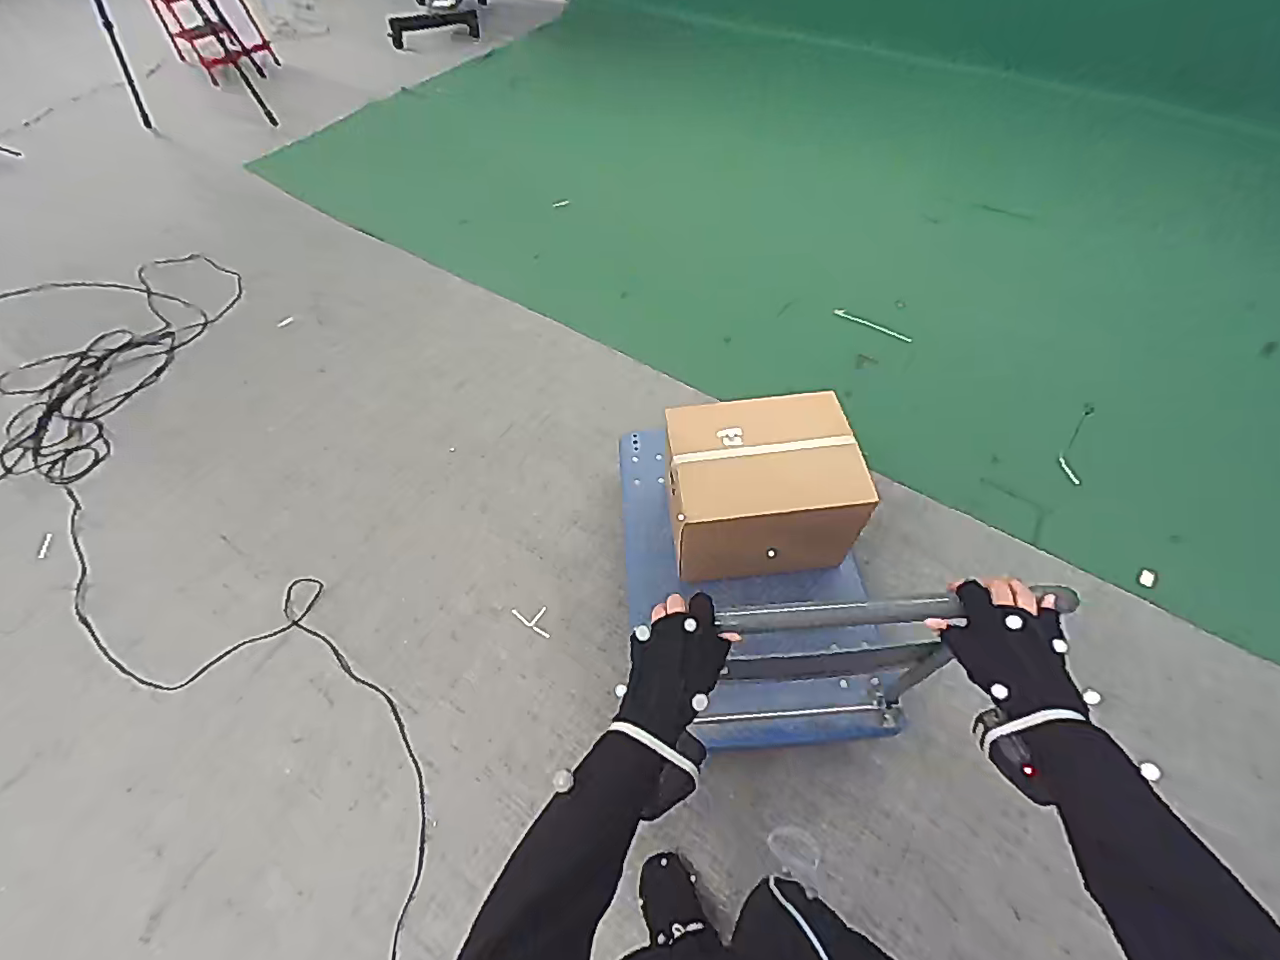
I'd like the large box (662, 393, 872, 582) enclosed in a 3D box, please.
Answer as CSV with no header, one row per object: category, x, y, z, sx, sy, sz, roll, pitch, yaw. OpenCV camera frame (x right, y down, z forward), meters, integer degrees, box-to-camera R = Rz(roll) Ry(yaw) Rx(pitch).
large box,0.277,0.027,1.315,0.408,0.320,0.320,-8,55,-1
